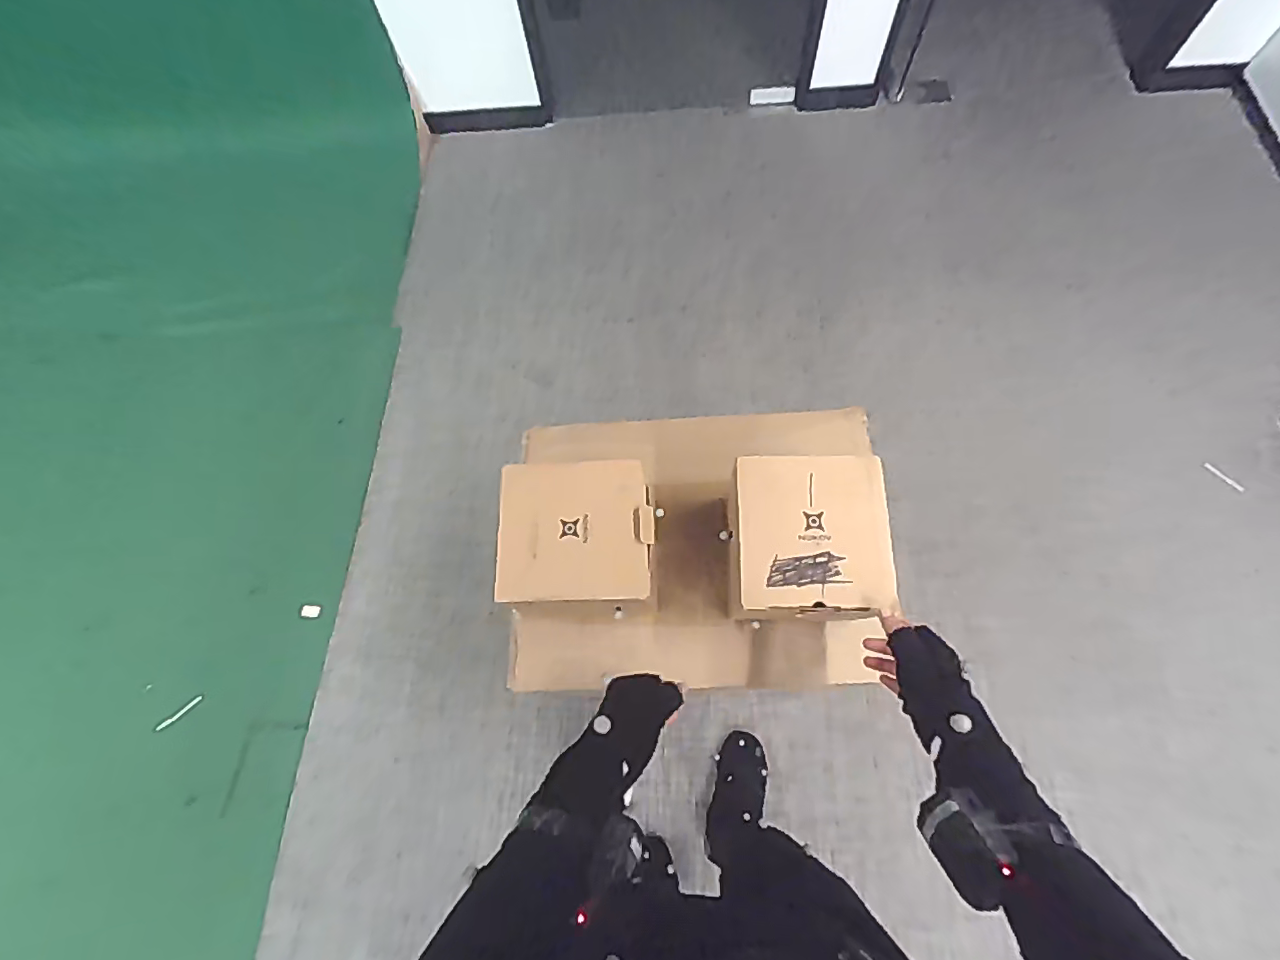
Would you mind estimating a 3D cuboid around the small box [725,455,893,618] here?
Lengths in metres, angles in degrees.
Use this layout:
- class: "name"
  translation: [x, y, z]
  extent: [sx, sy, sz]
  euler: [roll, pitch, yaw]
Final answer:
- class: "small box"
  translation: [0.196, 0.079, 0.677]
  extent: [0.168, 0.176, 0.179]
  euler: [0, 71, 4]

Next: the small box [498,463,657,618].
- class: "small box"
  translation: [-0.069, 0.086, 0.701]
  extent: [0.179, 0.176, 0.168]
  euler: [-4, 70, 5]
